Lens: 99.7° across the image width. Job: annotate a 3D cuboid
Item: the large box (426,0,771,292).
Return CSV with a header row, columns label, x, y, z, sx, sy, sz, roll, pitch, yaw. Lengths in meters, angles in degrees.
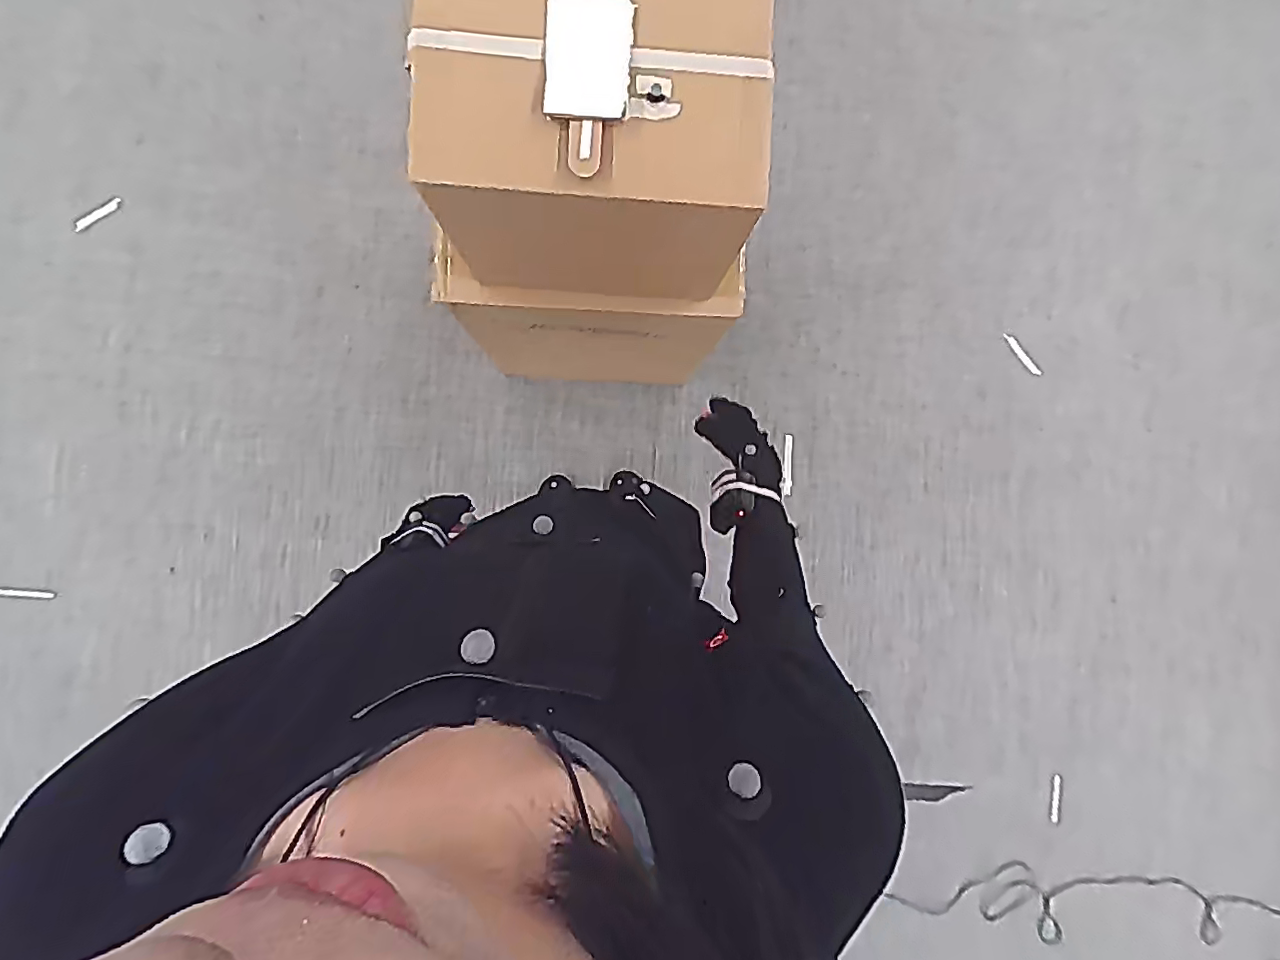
label,x,y,z,sx,sy,sz,roll,pitch,yaw
large box,-0.057,-0.481,0.776,0.408,0.320,0.320,2,90,-5
